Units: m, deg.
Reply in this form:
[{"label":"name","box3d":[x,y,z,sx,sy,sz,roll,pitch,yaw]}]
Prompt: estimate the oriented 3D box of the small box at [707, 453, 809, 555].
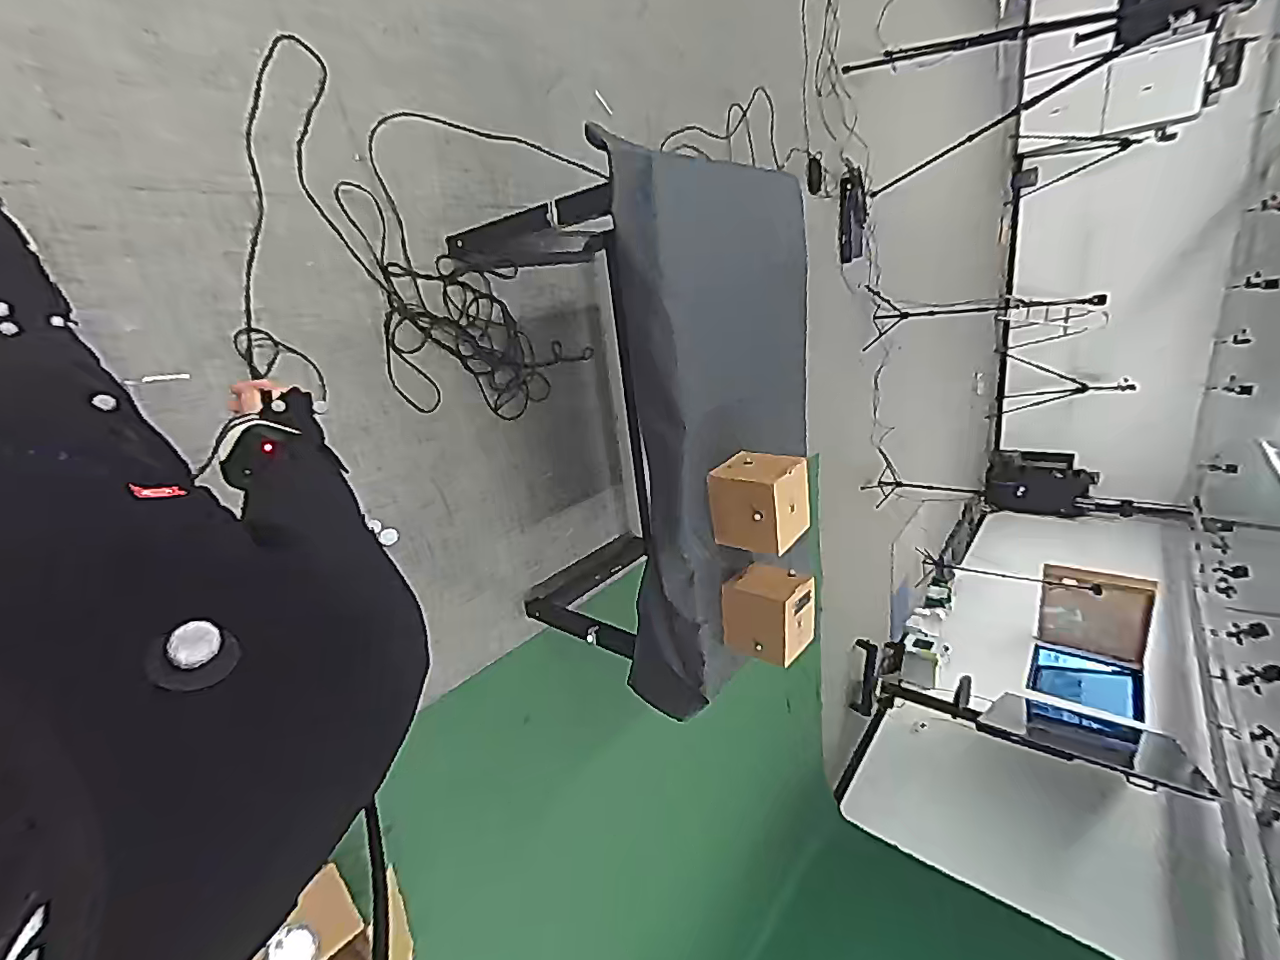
[{"label":"small box","box3d":[0.273,0.047,1.248,0.168,0.176,0.179,-30,117,-44]}]
